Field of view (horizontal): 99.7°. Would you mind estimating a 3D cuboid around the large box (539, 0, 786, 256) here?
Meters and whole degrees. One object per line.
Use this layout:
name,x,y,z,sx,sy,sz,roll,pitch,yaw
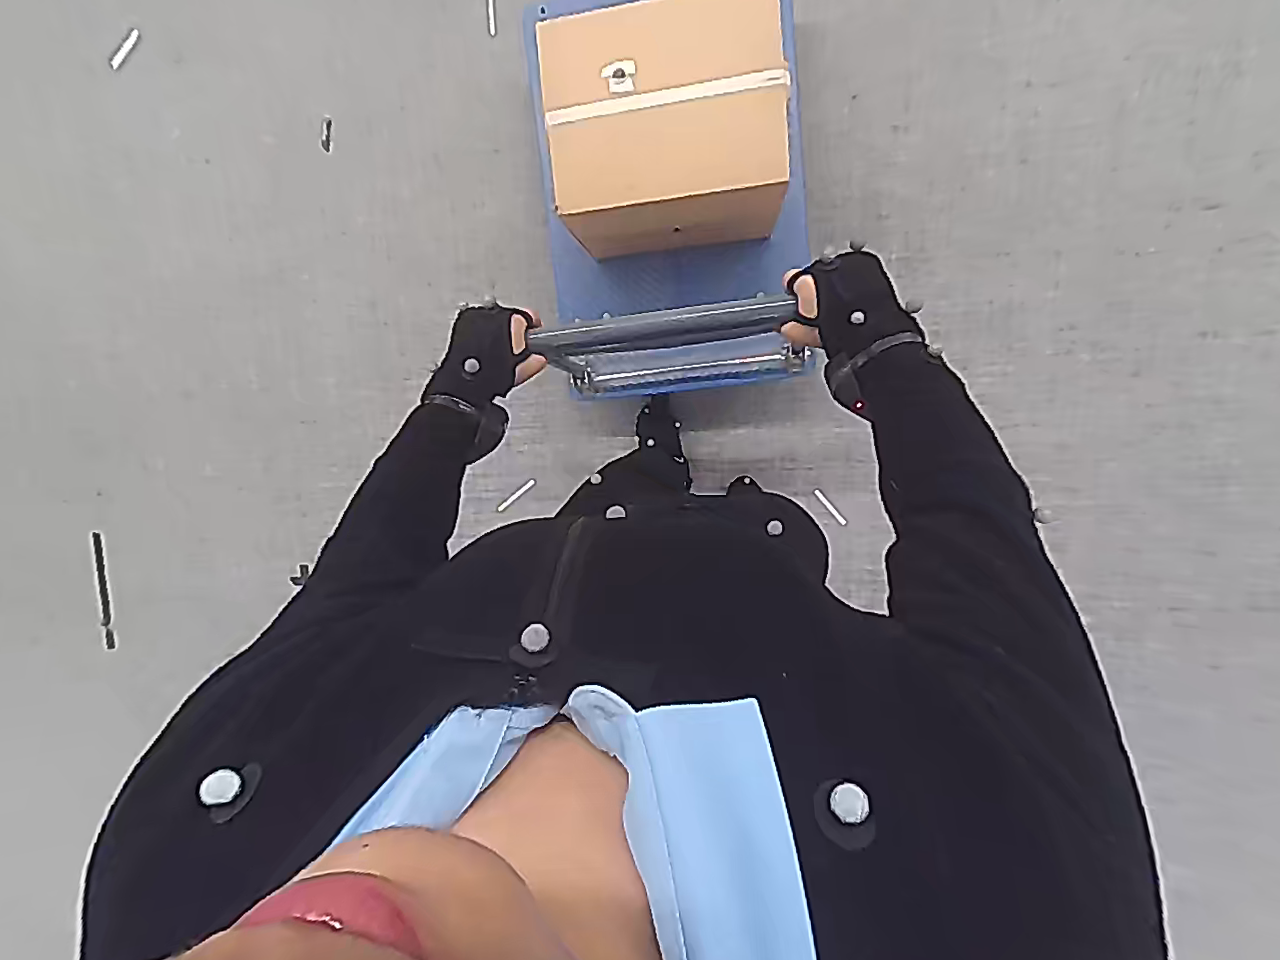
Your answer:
large box,0.058,-0.663,1.066,0.408,0.320,0.320,-4,97,9
